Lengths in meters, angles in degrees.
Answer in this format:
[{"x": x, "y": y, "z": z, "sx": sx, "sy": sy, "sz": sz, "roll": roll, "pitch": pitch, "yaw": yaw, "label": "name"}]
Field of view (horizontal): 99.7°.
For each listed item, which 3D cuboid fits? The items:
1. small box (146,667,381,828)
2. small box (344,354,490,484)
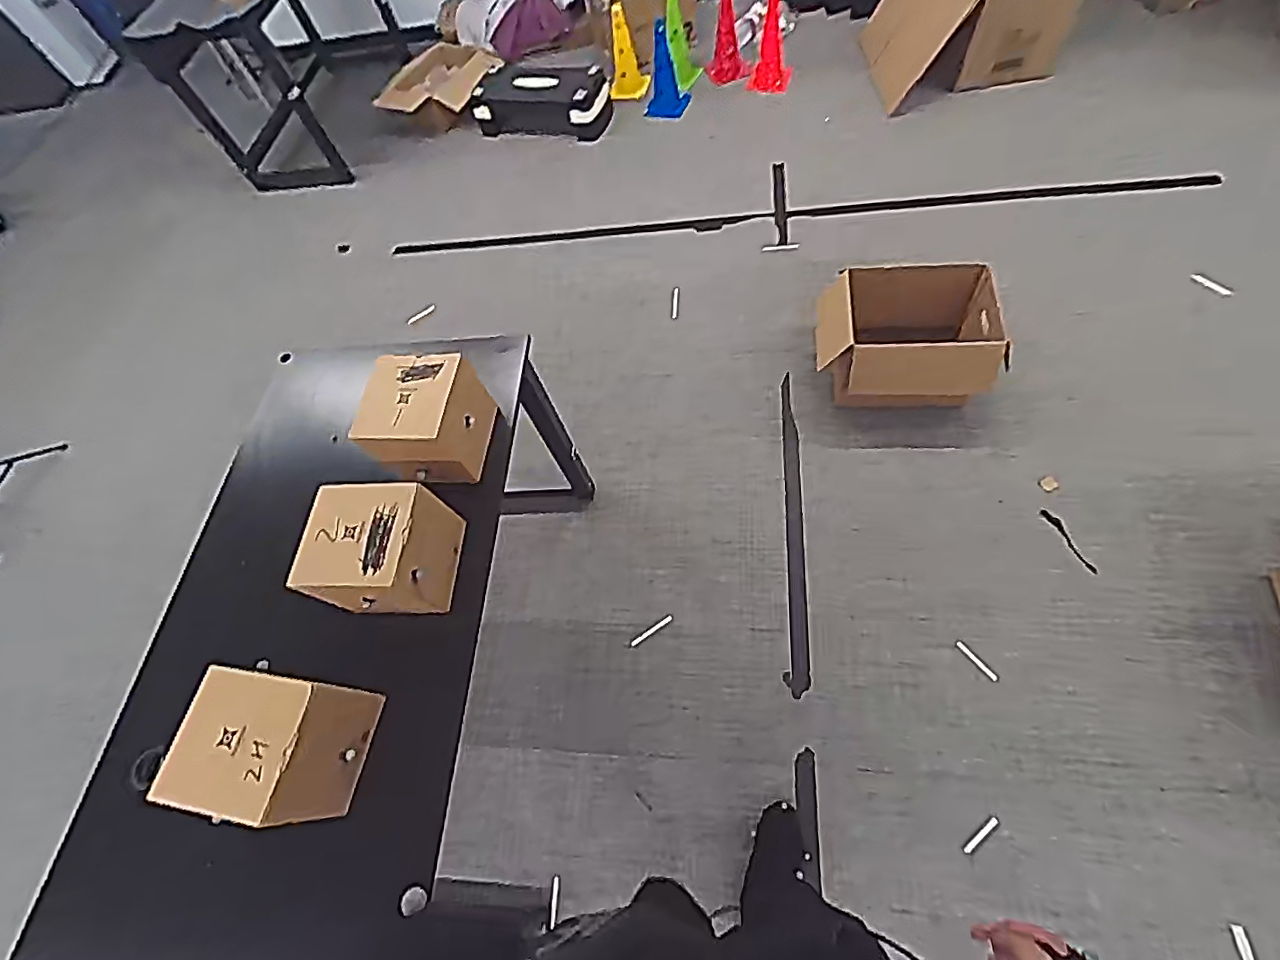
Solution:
[{"x": -0.513, "y": 0.373, "z": 0.765, "sx": 0.179, "sy": 0.176, "sz": 0.168, "roll": 4, "pitch": 65, "yaw": 12, "label": "small box"}, {"x": -0.391, "y": -0.109, "z": 0.987, "sx": 0.168, "sy": 0.176, "sz": 0.179, "roll": 1, "pitch": 65, "yaw": 11, "label": "small box"}]
